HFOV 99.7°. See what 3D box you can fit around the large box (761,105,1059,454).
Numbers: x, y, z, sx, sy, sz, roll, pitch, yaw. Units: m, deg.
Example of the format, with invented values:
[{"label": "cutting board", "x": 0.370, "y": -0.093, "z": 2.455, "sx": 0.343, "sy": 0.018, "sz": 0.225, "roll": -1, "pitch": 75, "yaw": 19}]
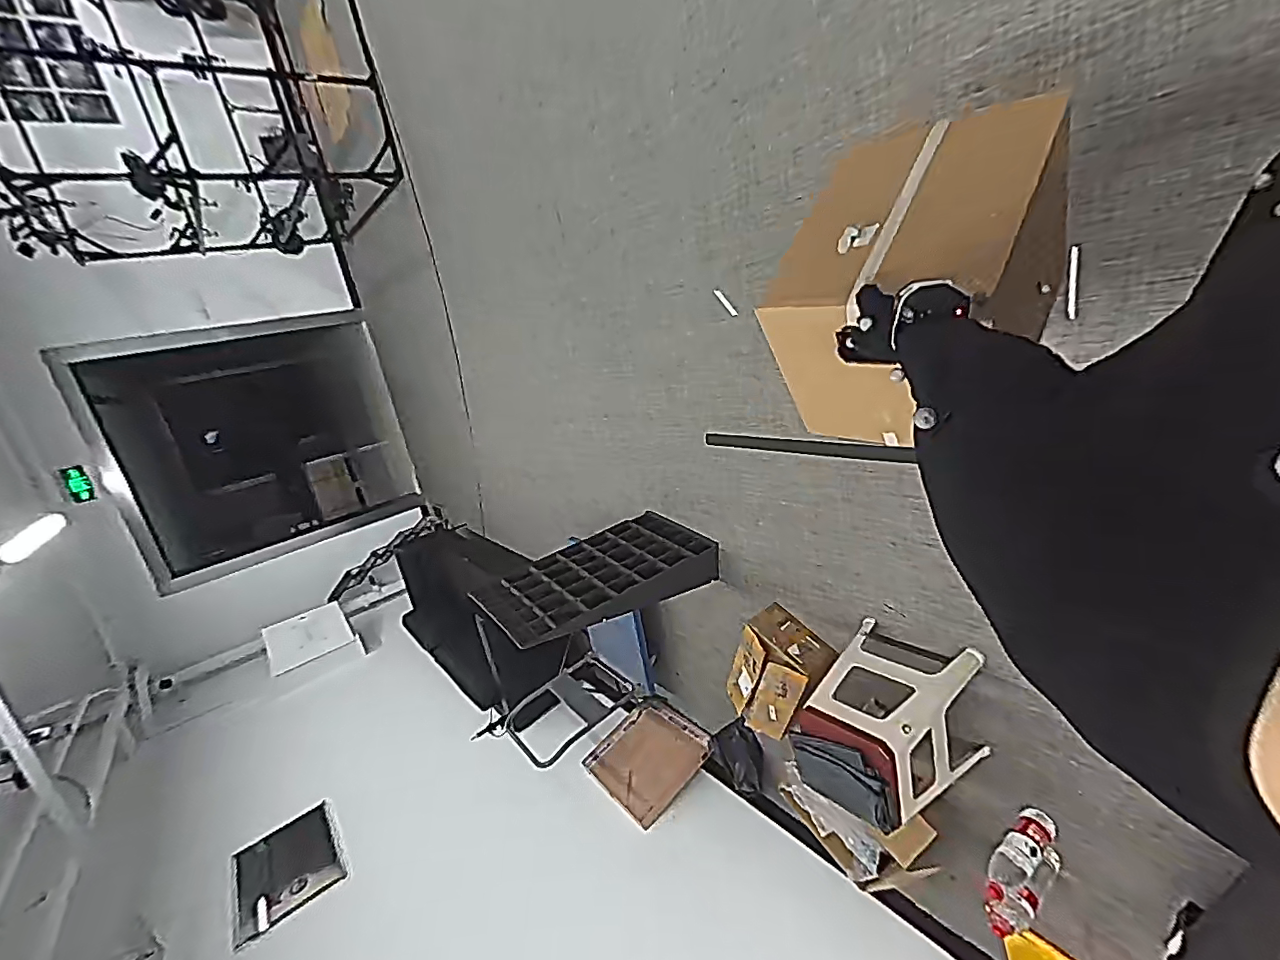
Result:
[{"label": "large box", "x": 0.458, "y": -0.304, "z": 0.888, "sx": 0.320, "sy": 0.408, "sz": 0.320, "roll": 11, "pitch": 154, "yaw": 43}]
